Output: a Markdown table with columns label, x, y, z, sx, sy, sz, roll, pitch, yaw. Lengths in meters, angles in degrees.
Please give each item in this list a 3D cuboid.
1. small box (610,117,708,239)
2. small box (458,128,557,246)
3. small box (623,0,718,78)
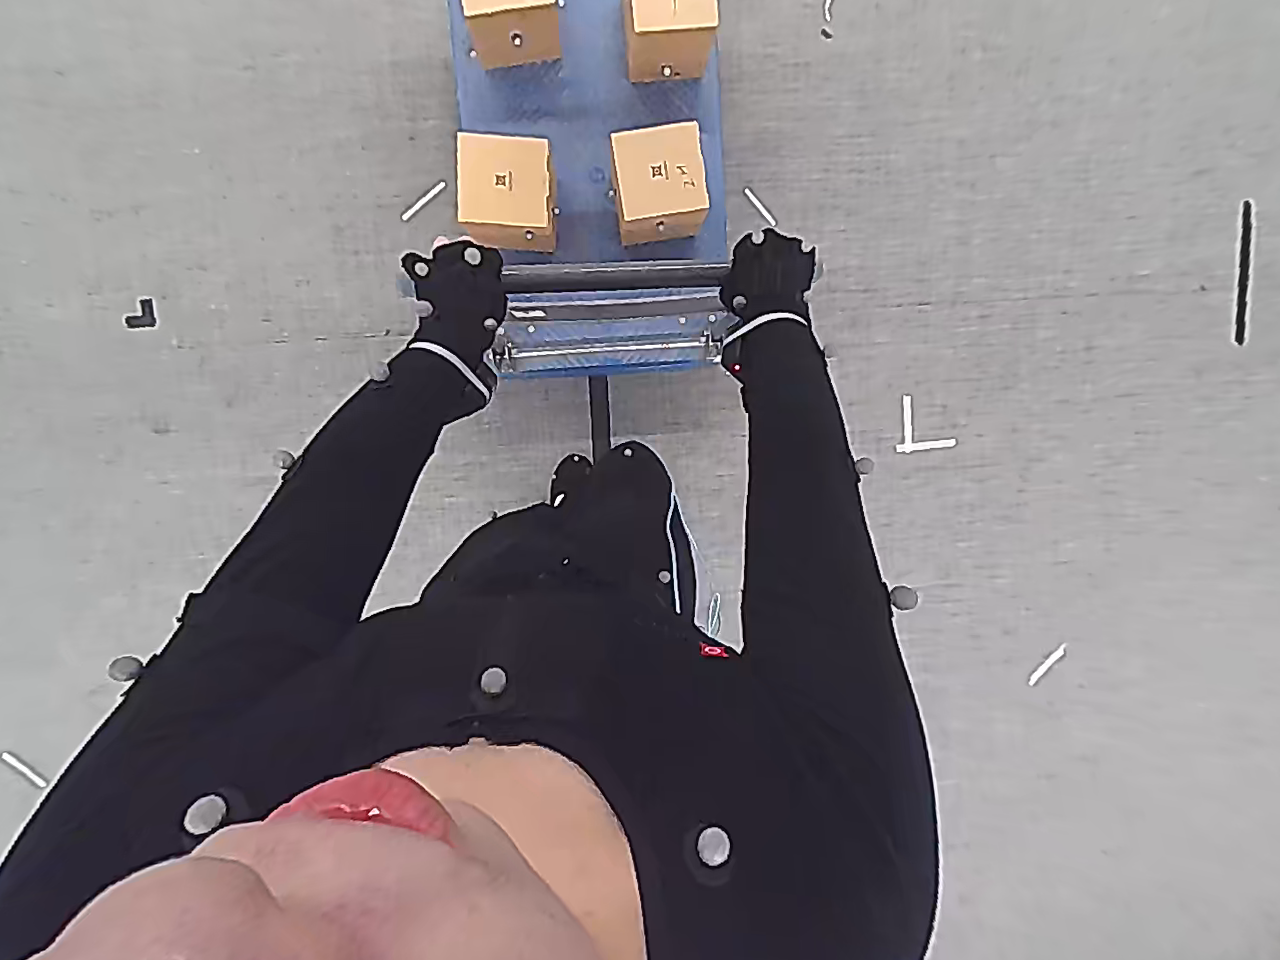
| label | x | y | z | sx | sy | sz | roll | pitch | yaw |
| --- | --- | --- | --- | --- | --- | --- | --- | --- | --- |
| small box | 0.036 | -0.626 | 1.143 | 0.179 | 0.176 | 0.168 | -10 | 98 | -2 |
| small box | -0.270 | -0.601 | 1.128 | 0.179 | 0.176 | 0.168 | 1 | 97 | -5 |
| small box | 0.056 | -0.965 | 1.099 | 0.168 | 0.176 | 0.179 | -6 | 99 | -3 |
